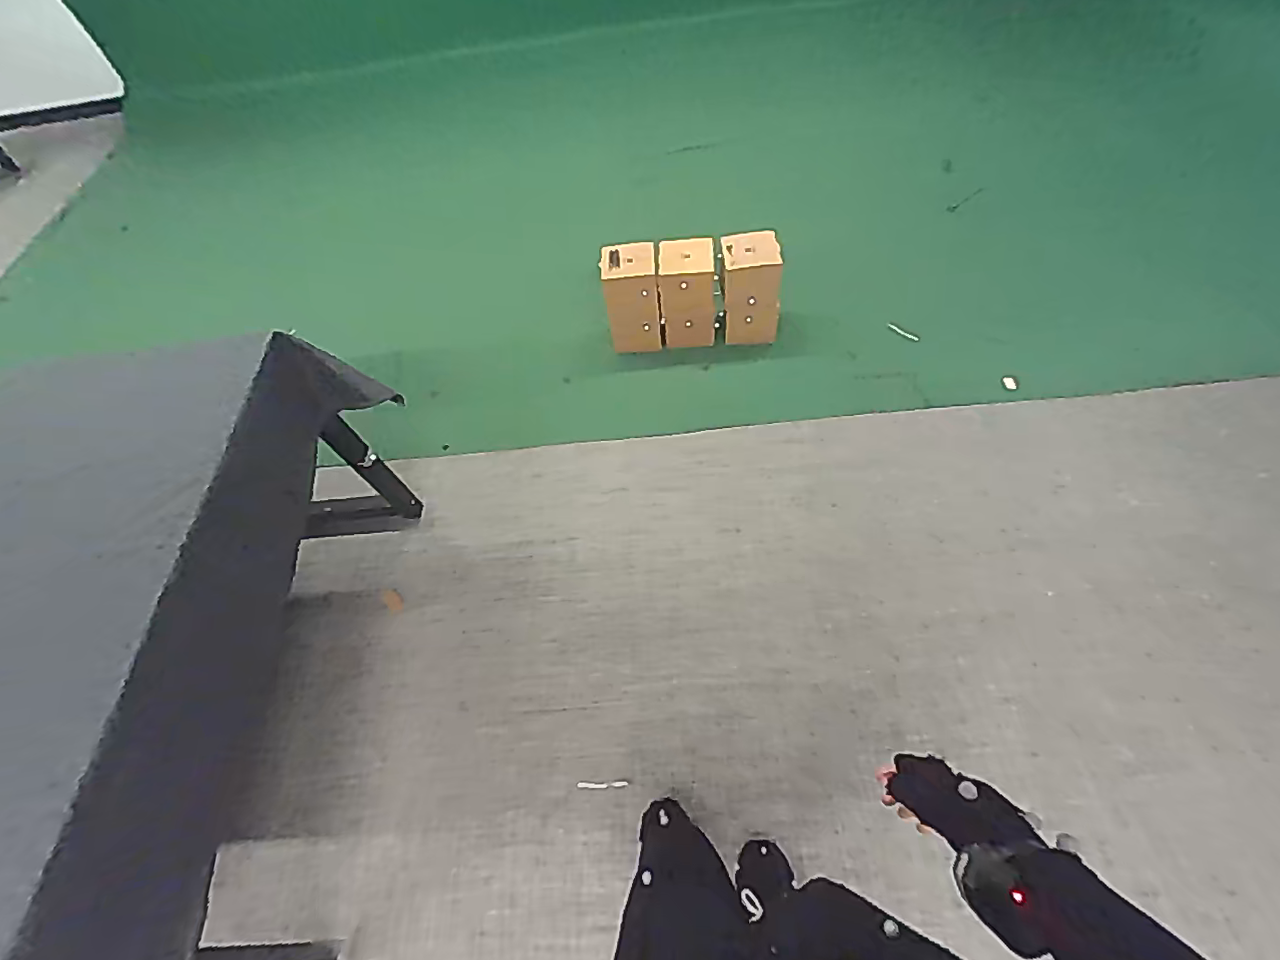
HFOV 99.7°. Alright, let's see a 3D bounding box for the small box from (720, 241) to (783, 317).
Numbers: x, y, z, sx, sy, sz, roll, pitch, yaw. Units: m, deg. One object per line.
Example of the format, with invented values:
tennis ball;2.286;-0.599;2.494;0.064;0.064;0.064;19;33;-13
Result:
small box;0.363;-0.660;1.787;0.179;0.176;0.168;-4;58;3
